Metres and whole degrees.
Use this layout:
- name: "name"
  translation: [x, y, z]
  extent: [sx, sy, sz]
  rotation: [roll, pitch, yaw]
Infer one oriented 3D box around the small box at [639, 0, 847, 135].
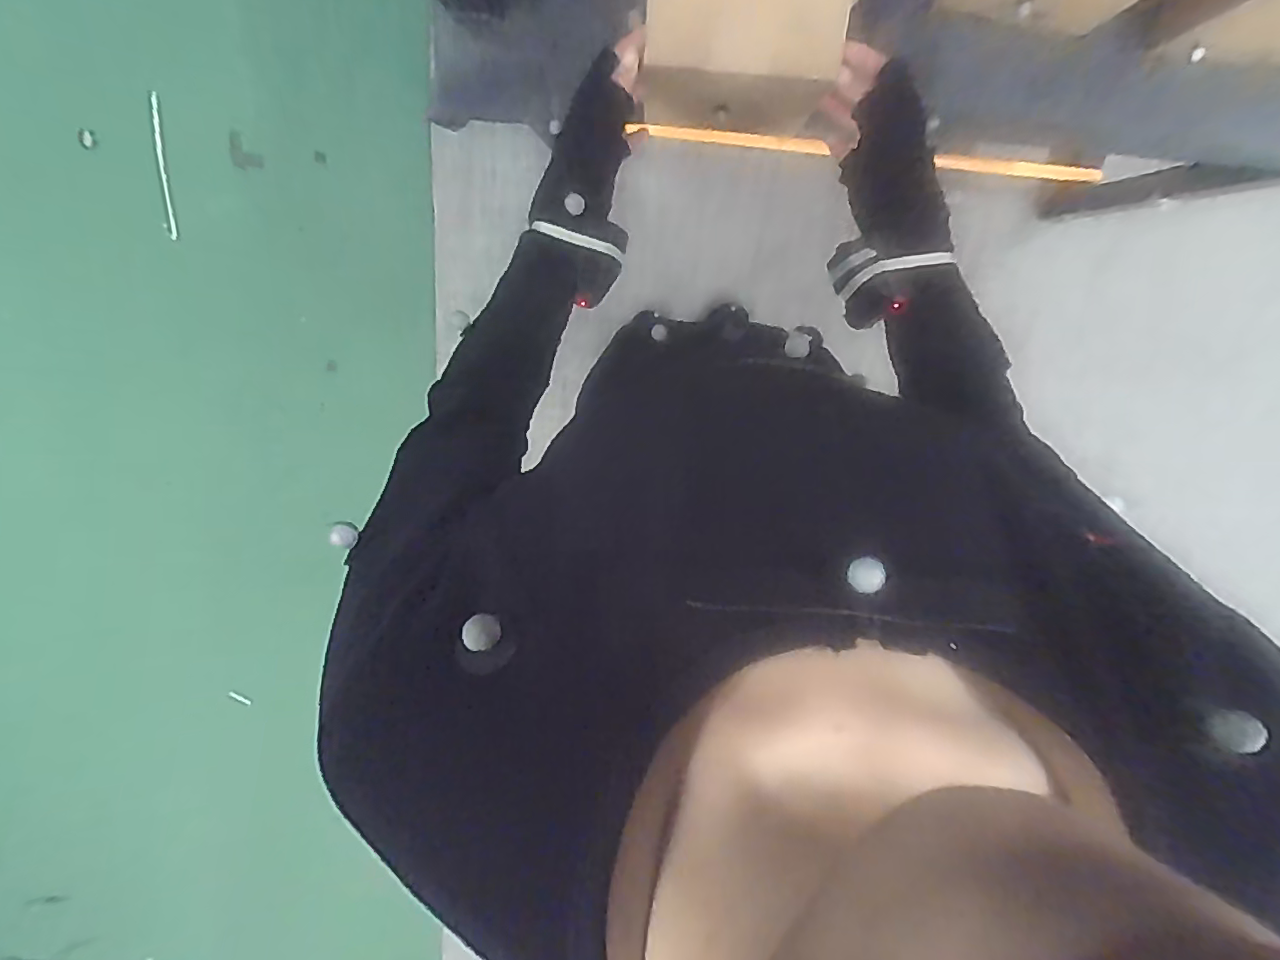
- name: "small box"
  translation: [0.090, -0.441, 0.498]
  extent: [0.168, 0.176, 0.179]
  rotation: [5, 108, 0]
